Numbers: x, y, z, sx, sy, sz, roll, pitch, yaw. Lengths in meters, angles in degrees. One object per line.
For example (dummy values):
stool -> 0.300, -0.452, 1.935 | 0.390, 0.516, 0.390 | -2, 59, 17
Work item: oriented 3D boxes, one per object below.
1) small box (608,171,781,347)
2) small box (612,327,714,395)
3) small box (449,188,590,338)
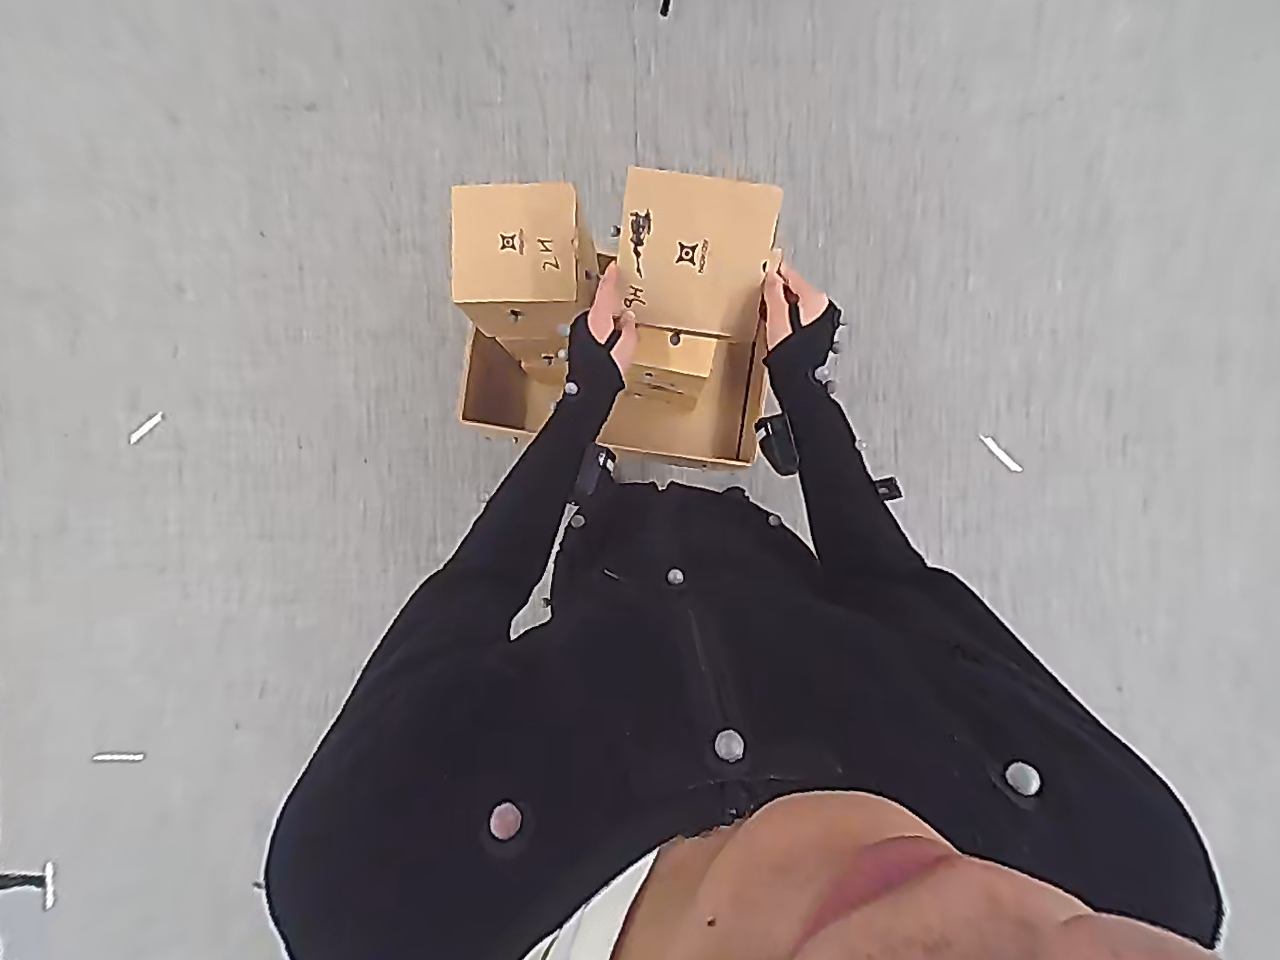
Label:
small box -> 0.058, -0.268, 0.690 | 0.179, 0.176, 0.168 | 8, 104, -3
small box -> 0.054, -0.264, 0.985 | 0.168, 0.176, 0.179 | 12, 89, 3
small box -> -0.174, -0.318, 0.823 | 0.179, 0.176, 0.168 | 0, 89, 0
